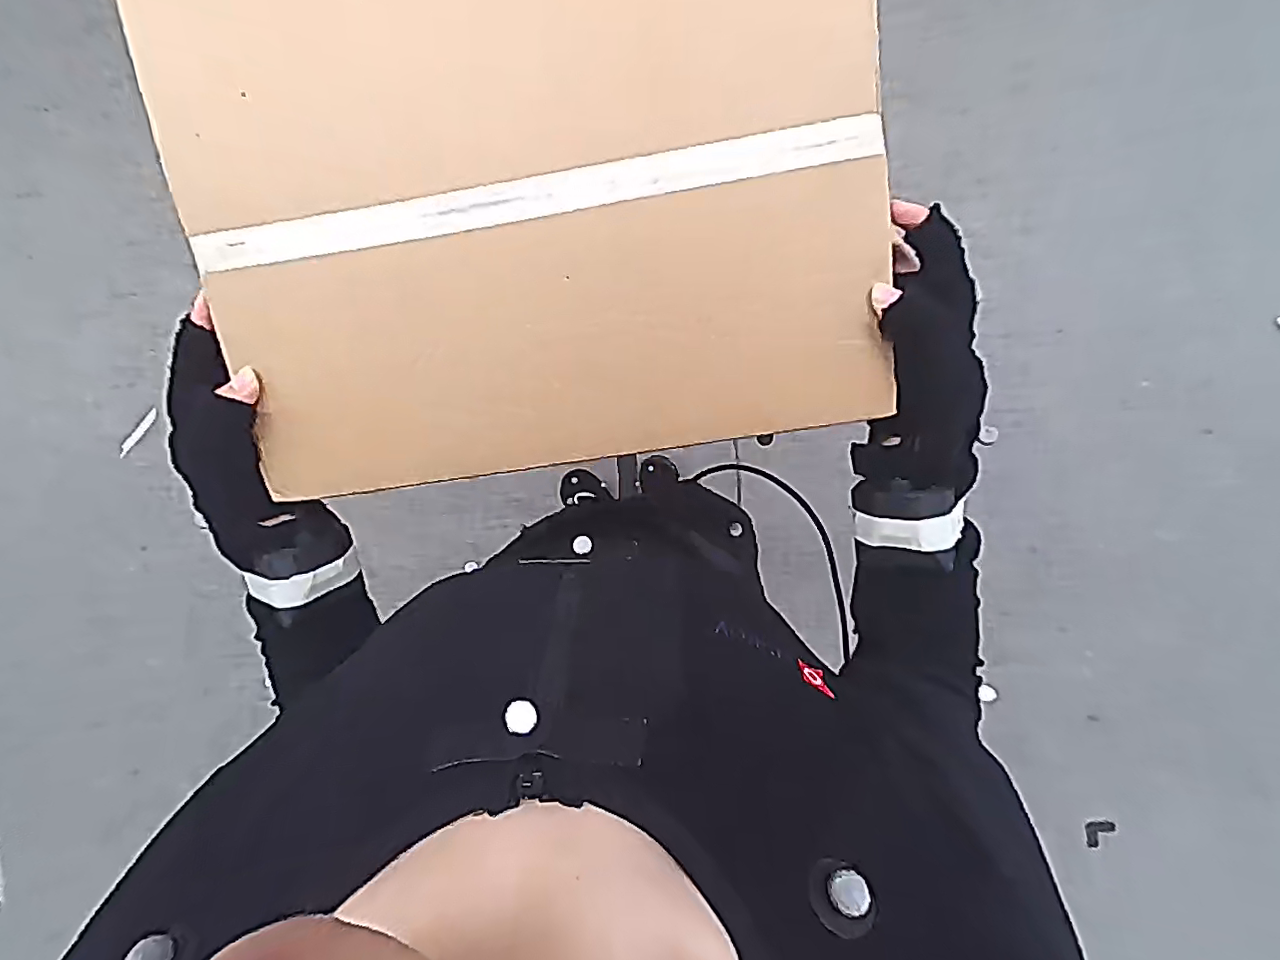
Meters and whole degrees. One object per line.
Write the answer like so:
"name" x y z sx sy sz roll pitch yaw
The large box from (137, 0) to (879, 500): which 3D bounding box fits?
"large box" -0.060 -0.197 0.468 0.408 0.320 0.320 -8 102 4
